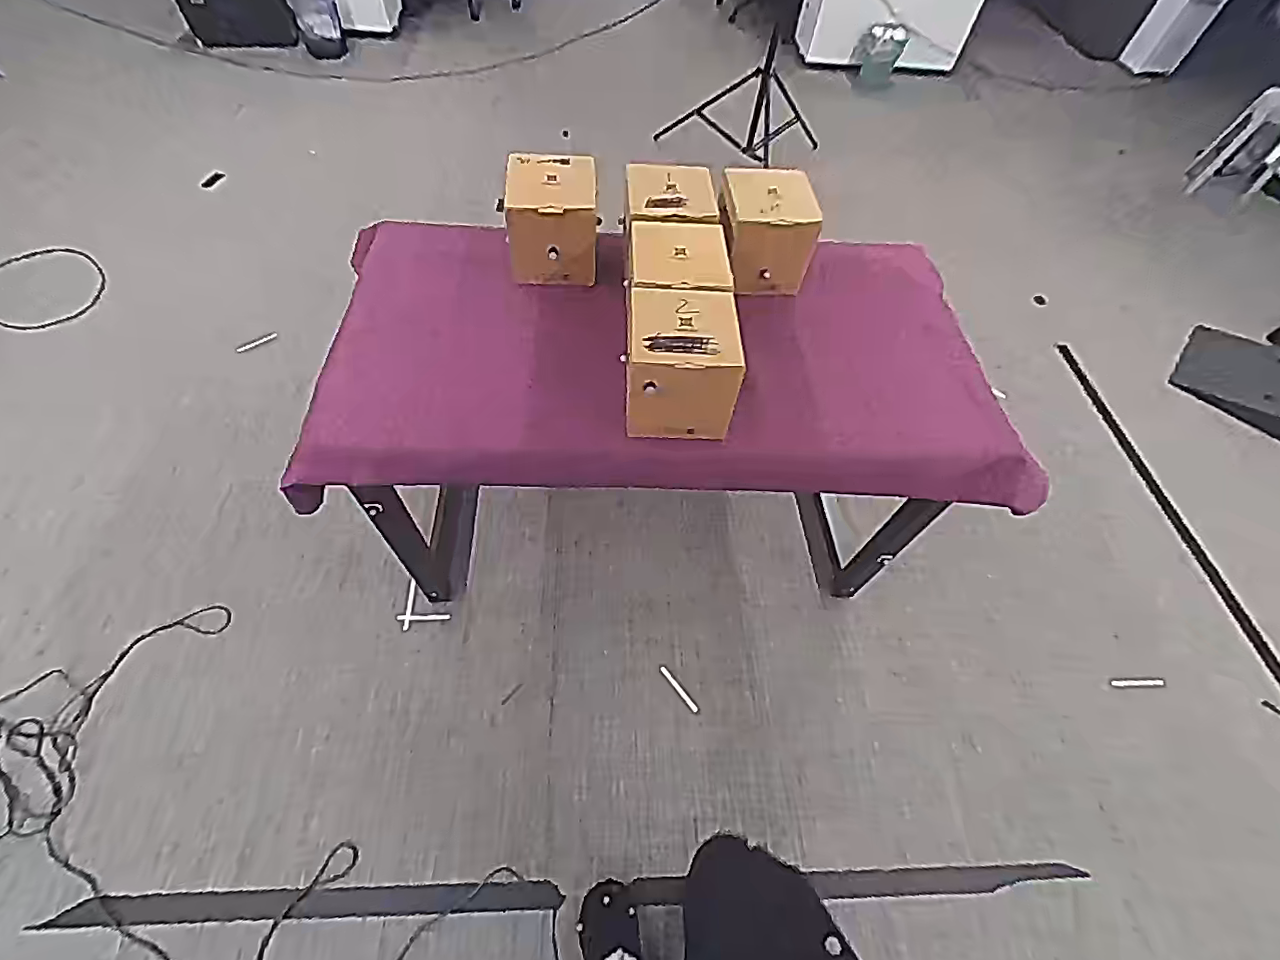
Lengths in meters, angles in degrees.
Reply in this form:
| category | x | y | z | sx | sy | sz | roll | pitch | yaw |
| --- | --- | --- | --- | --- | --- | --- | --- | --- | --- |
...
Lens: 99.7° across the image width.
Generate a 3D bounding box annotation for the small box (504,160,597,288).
| category | x | y | z | sx | sy | sz | roll | pitch | yaw |
| --- | --- | --- | --- | --- | --- | --- | --- | --- | --- |
| small box | -0.170 | -0.503 | 1.077 | 0.168 | 0.176 | 0.179 | -1 | 60 | -5 |
